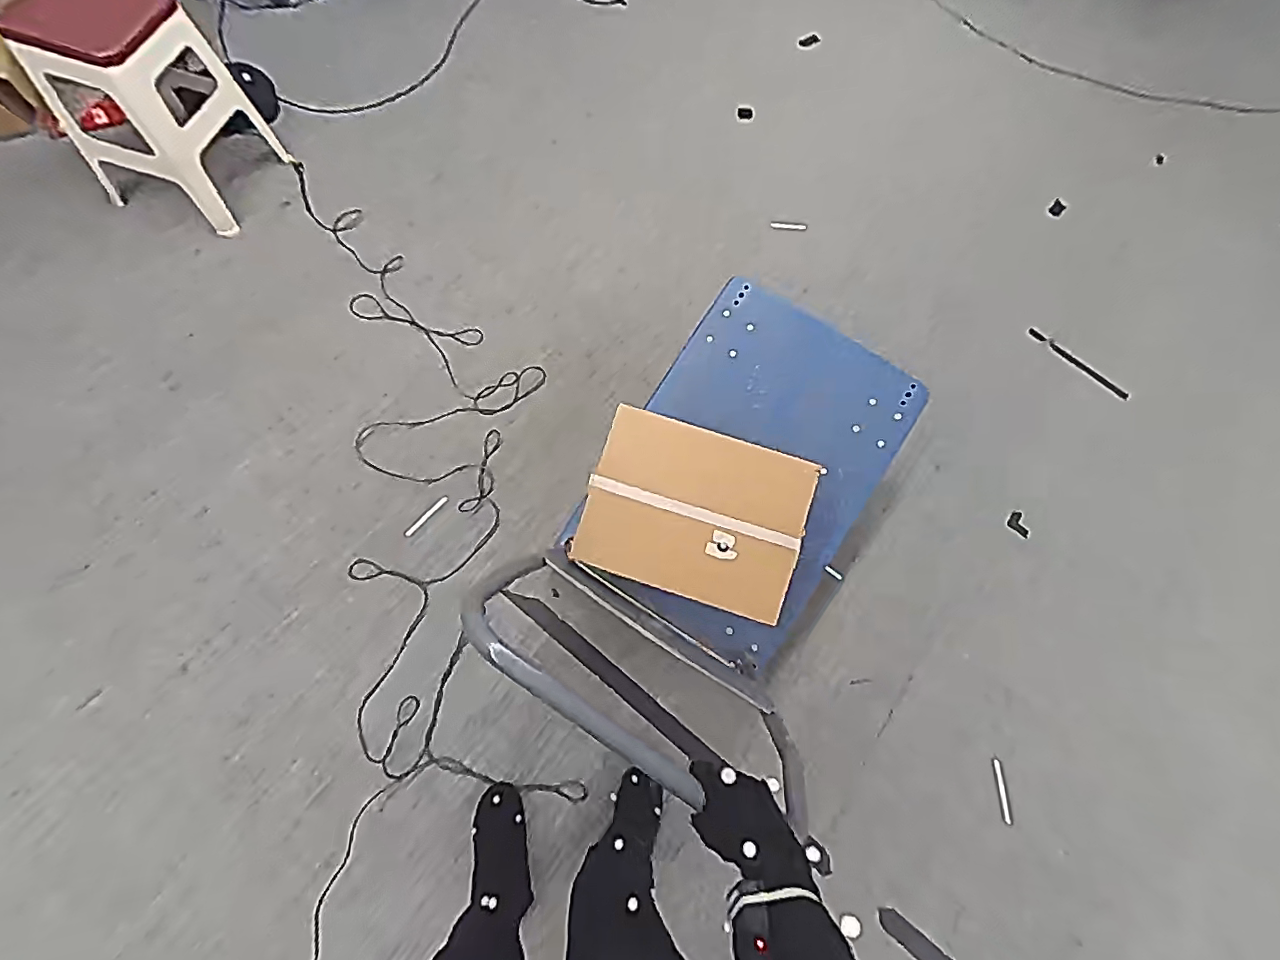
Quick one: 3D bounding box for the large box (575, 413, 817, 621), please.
[{"bbox_3d":[0.108,0.082,1.168,0.408,0.320,0.320,17,85,3],"label":"large box"}]
